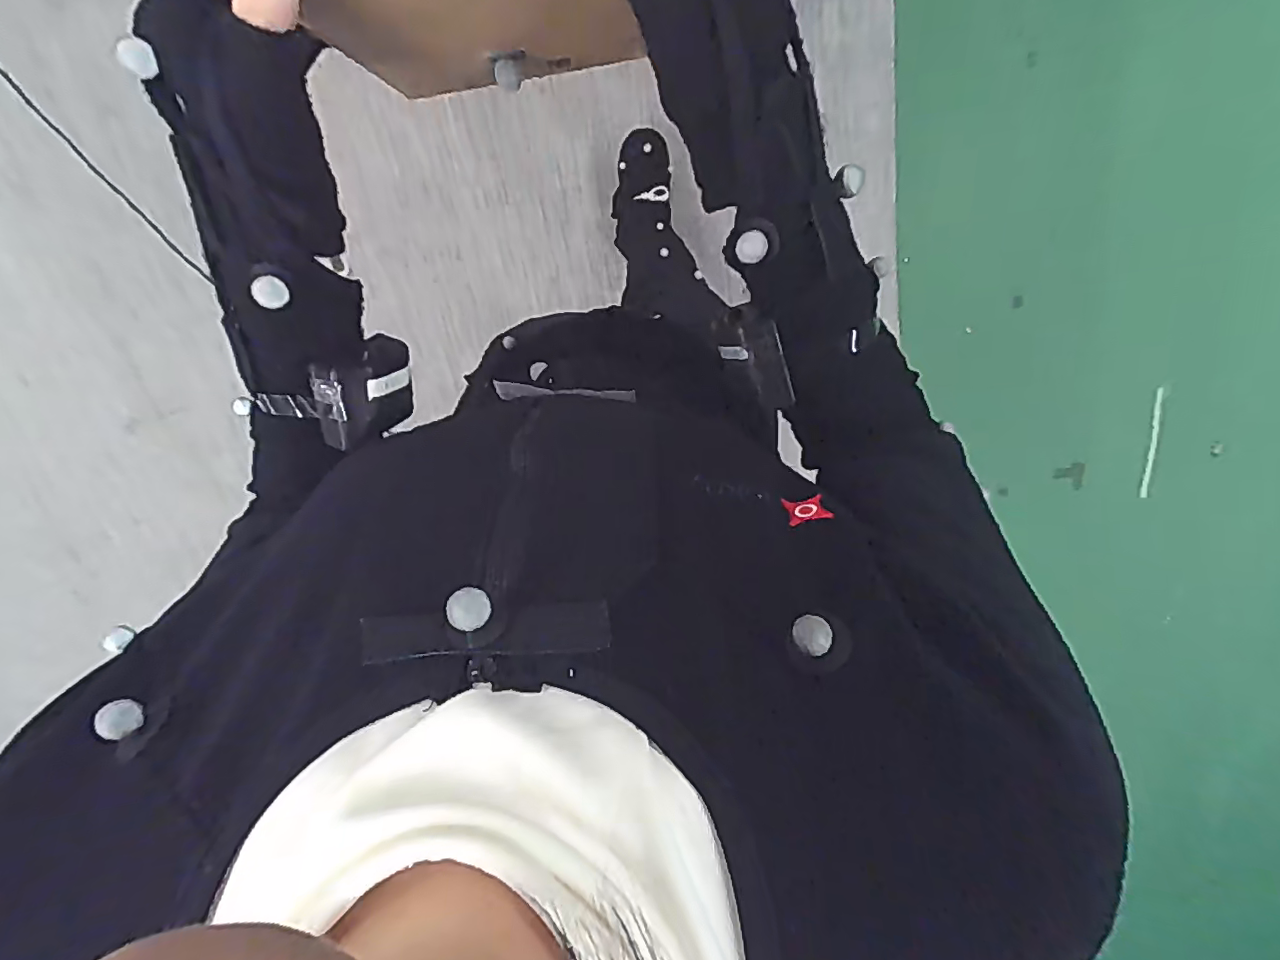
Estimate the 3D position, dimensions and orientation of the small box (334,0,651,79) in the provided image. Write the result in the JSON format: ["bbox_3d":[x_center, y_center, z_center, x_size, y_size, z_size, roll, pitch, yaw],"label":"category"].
[{"bbox_3d":[-0.085,-0.317,0.240,0.168,0.176,0.179,-7,113,3],"label":"small box"}]

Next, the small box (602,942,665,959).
[{"bbox_3d":[-0.005,1.392,1.448,0.168,0.176,0.179,-15,110,4],"label":"small box"}]
